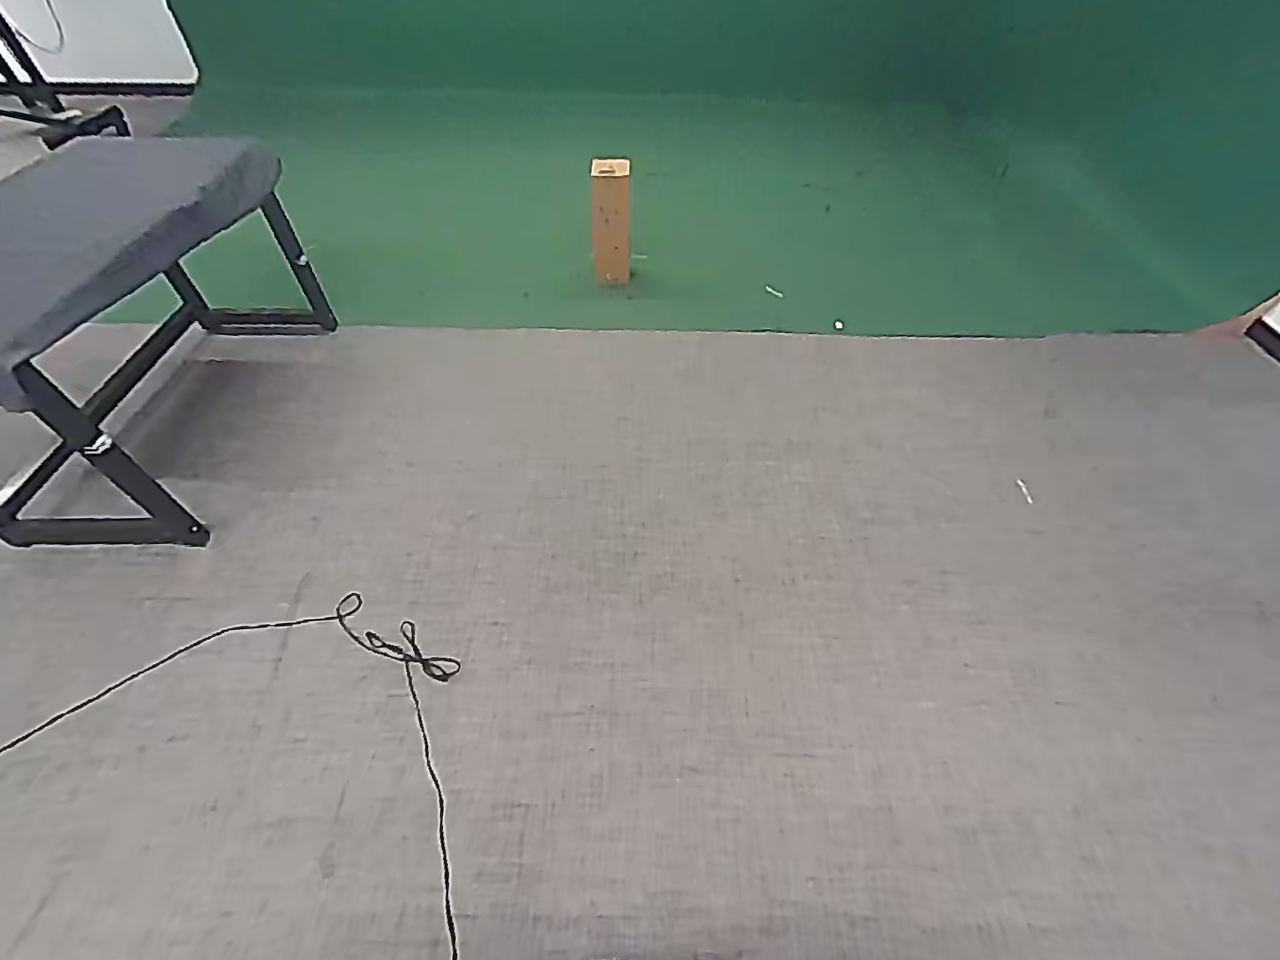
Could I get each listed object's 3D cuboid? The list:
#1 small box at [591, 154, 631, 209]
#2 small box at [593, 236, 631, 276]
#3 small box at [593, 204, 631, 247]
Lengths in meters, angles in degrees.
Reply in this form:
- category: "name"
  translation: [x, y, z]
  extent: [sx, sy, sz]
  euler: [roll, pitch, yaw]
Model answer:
- category: "small box"
  translation: [-0.124, -1.311, 2.378]
  extent: [0.168, 0.176, 0.179]
  euler: [0, 50, 0]
- category: "small box"
  translation: [-0.131, -1.112, 2.615]
  extent: [0.168, 0.176, 0.179]
  euler: [1, 51, 3]
- category: "small box"
  translation: [-0.126, -1.205, 2.504]
  extent: [0.168, 0.176, 0.179]
  euler: [1, 50, 1]
